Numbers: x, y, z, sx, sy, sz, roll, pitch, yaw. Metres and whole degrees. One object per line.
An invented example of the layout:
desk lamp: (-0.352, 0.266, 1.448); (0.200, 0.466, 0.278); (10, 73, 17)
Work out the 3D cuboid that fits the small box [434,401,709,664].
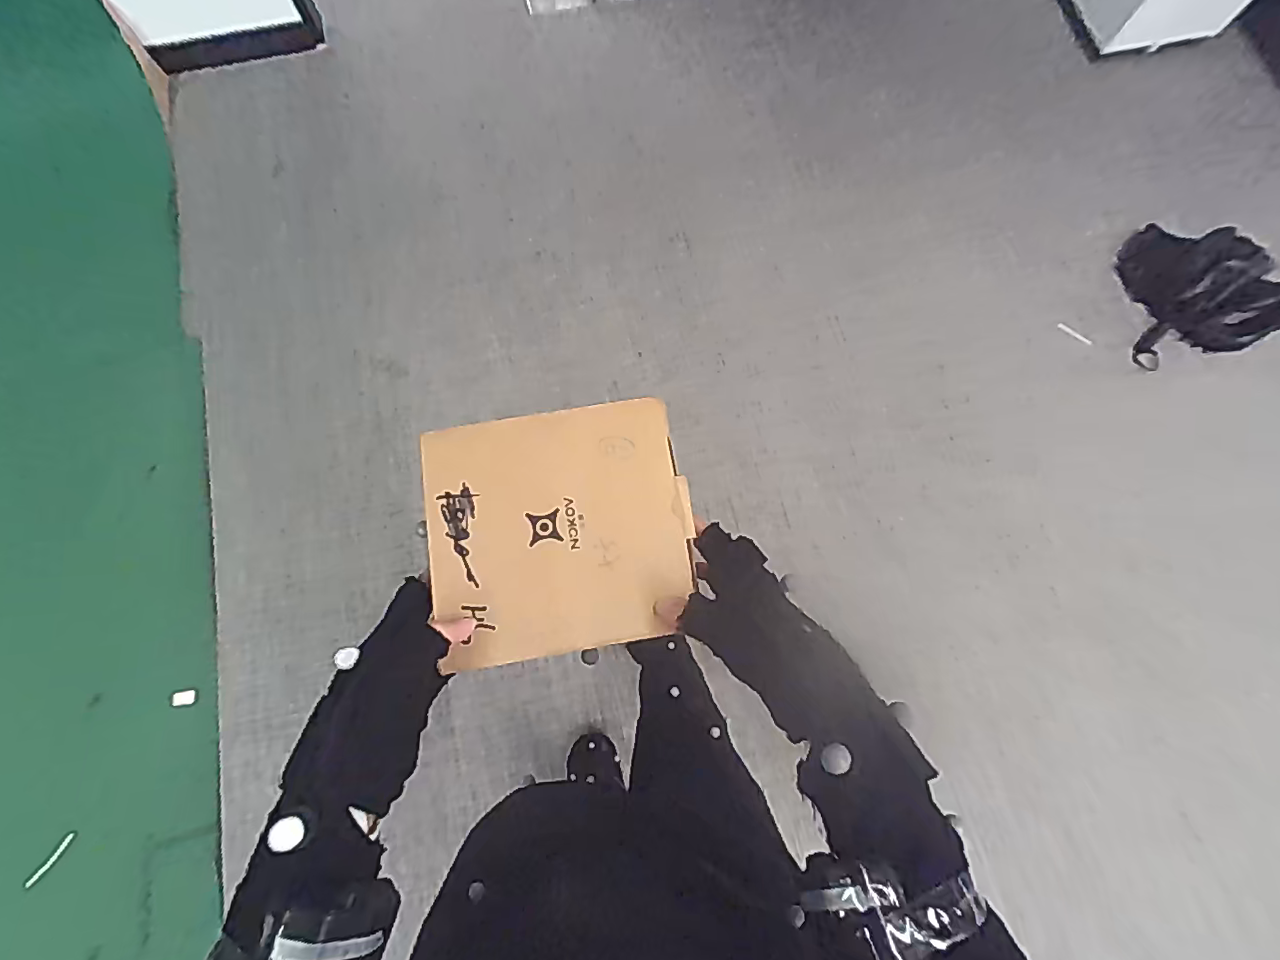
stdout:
small box: (-0.055, 0.050, 0.451); (0.179, 0.176, 0.168); (-9, 75, -4)
